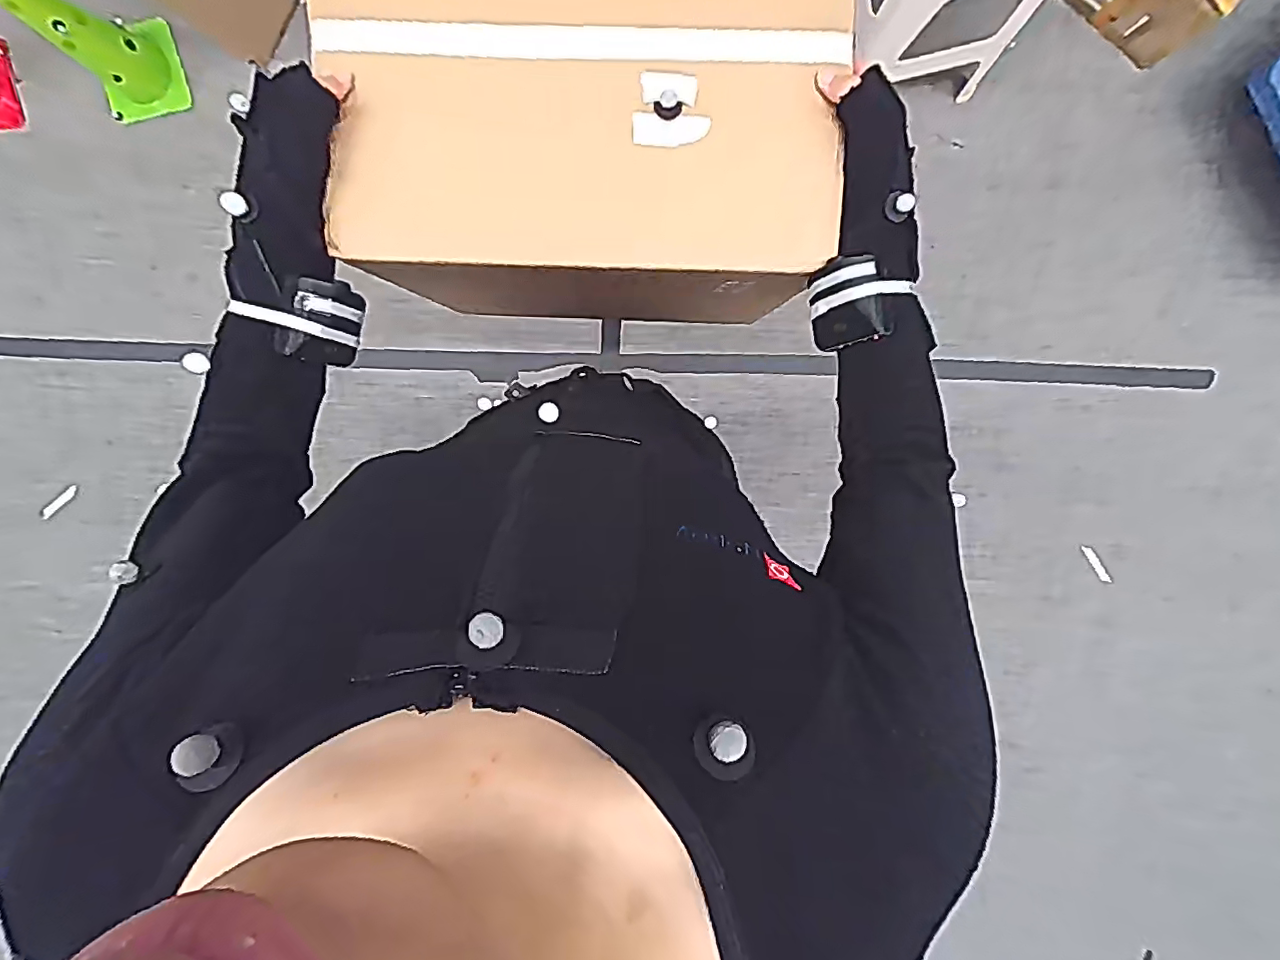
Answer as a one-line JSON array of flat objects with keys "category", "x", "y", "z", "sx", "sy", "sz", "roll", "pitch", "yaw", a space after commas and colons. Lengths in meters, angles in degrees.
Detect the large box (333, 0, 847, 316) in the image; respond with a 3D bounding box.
[{"category": "large box", "x": -0.041, "y": -0.355, "z": 0.567, "sx": 0.408, "sy": 0.320, "sz": 0.320, "roll": 1, "pitch": 99, "yaw": -1}]
